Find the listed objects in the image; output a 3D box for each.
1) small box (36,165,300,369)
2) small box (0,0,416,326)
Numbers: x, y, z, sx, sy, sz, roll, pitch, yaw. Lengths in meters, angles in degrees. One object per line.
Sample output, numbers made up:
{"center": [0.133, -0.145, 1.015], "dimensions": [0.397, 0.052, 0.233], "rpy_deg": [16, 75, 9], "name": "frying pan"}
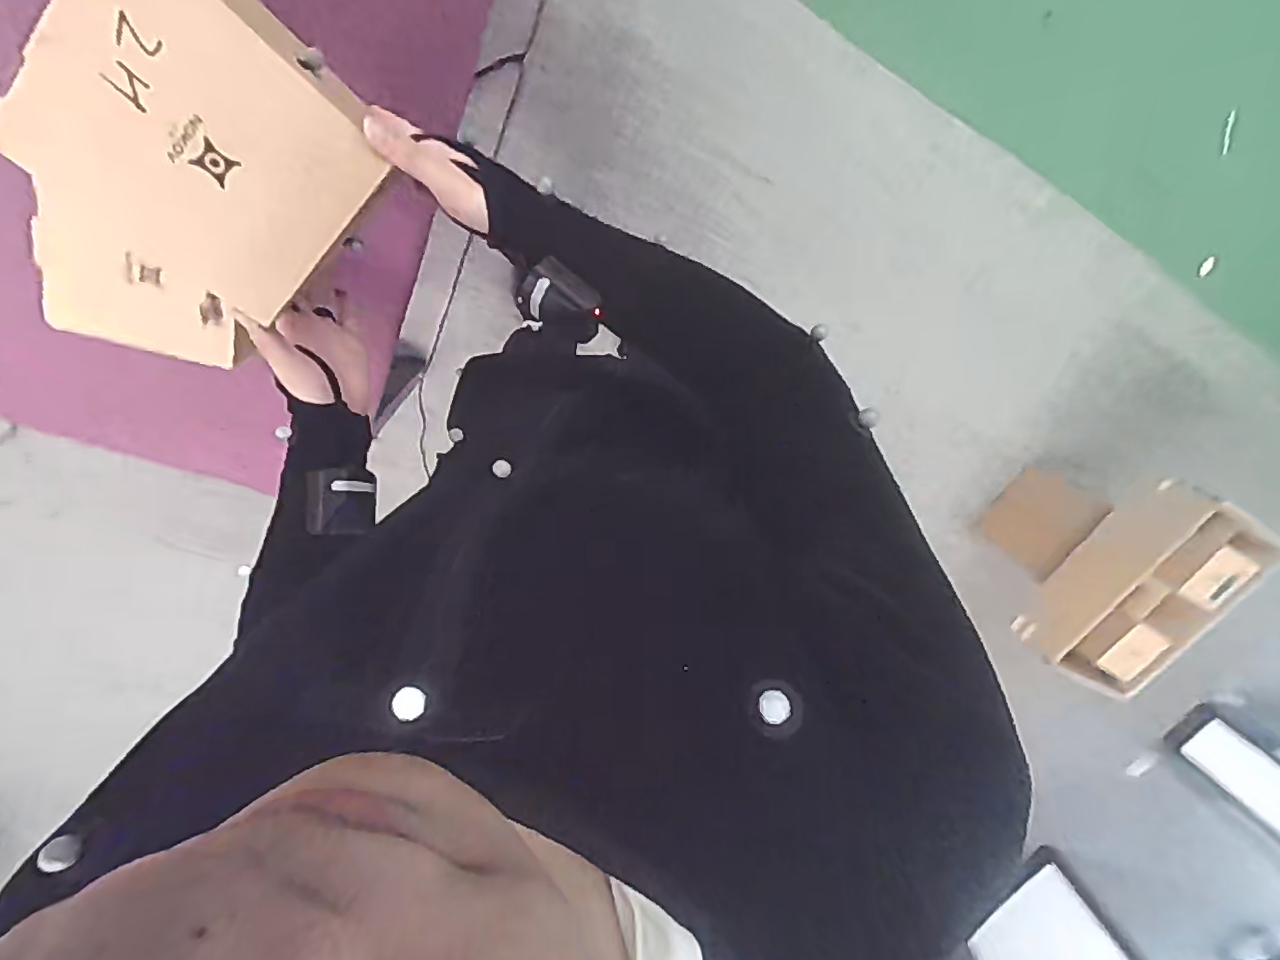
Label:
{"center": [-0.526, -0.249, 0.633], "dimensions": [0.179, 0.176, 0.168], "rpy_deg": [13, 113, -14], "name": "small box"}
{"center": [-0.304, -0.261, 0.431], "dimensions": [0.168, 0.176, 0.179], "rpy_deg": [-42, 123, 12], "name": "small box"}
